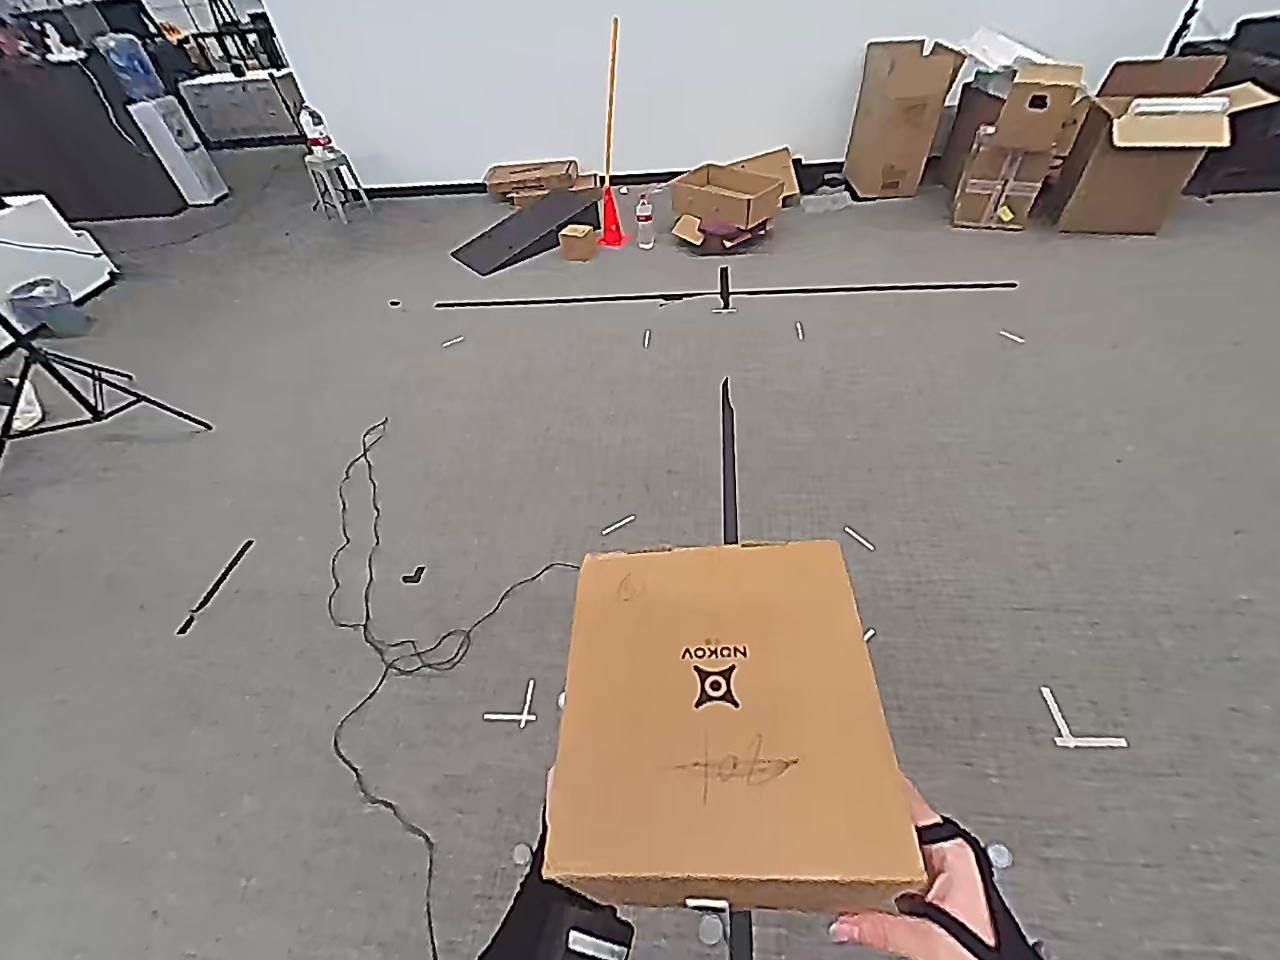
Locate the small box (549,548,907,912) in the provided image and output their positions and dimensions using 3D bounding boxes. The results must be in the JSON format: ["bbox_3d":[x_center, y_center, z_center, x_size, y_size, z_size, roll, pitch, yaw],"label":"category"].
[{"bbox_3d":[0.051,0.166,0.360,0.168,0.176,0.179,-4,48,8],"label":"small box"}]
